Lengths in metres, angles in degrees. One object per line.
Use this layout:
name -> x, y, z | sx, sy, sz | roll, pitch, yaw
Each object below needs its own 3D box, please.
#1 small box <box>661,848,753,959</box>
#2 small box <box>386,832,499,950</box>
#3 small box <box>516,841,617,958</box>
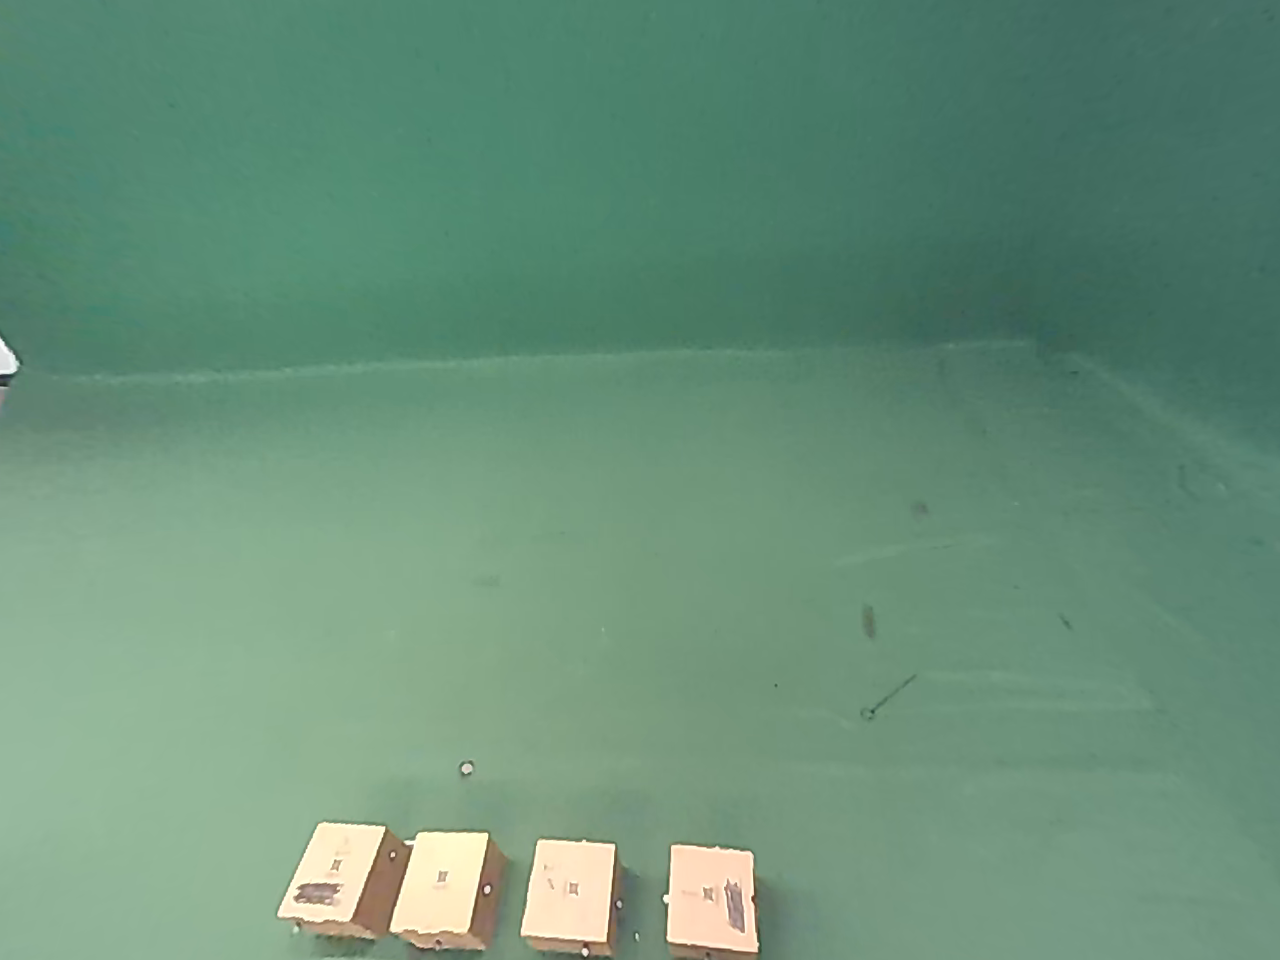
small box -> 0.141, 0.903, 1.138 | 0.179, 0.176, 0.168 | 1, 41, 7
small box -> -0.421, 0.904, 1.190 | 0.168, 0.176, 0.179 | -1, 42, 4
small box -> -0.147, 0.904, 1.162 | 0.179, 0.176, 0.168 | 1, 41, 6
